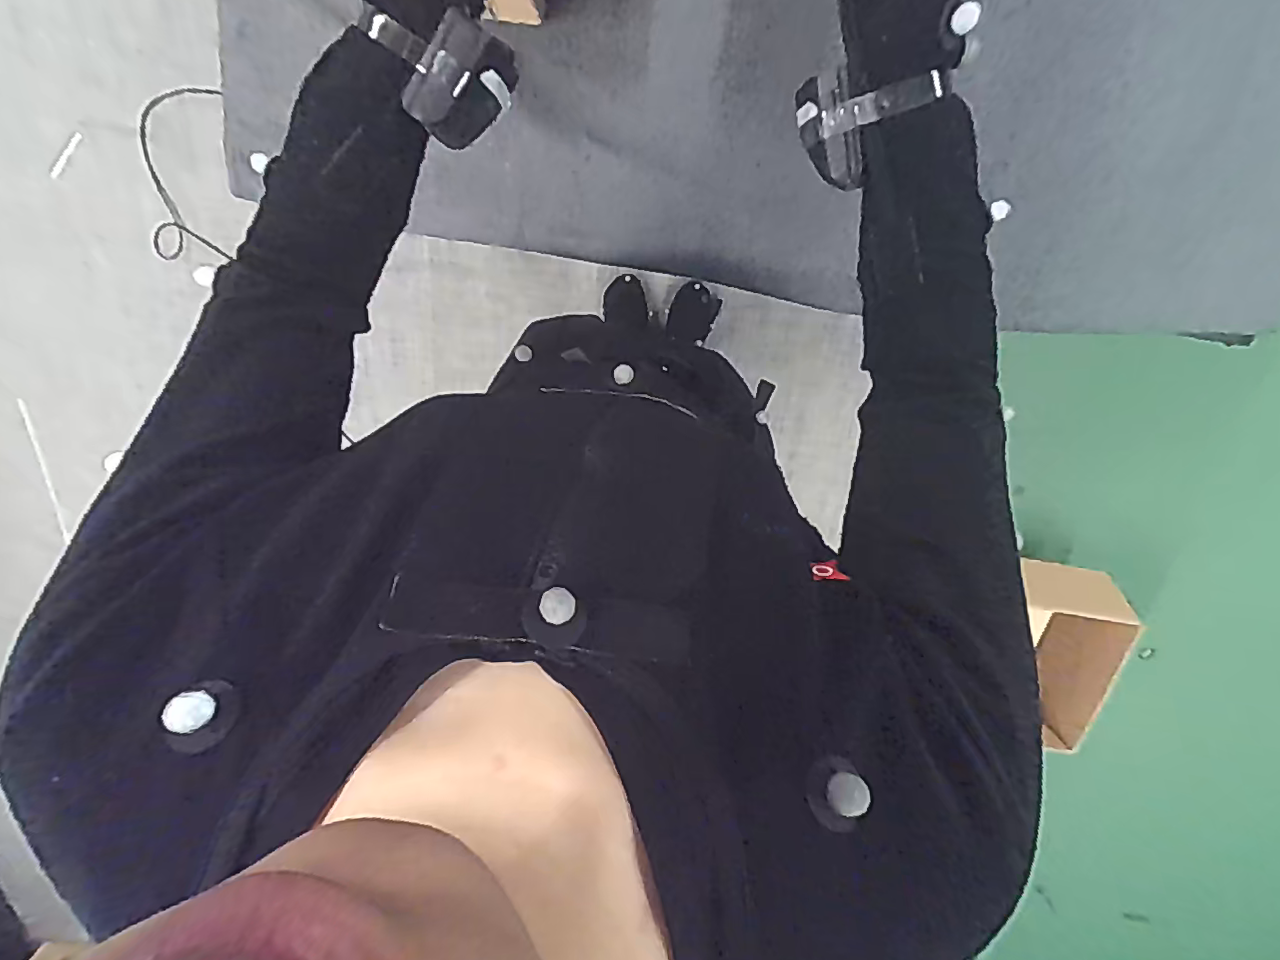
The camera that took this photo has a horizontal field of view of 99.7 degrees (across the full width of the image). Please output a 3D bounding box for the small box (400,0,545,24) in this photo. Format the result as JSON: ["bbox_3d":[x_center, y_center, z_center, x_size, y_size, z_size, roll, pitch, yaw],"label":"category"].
[{"bbox_3d":[-0.173,-0.532,0.460,0.168,0.176,0.179,7,110,0],"label":"small box"}]
